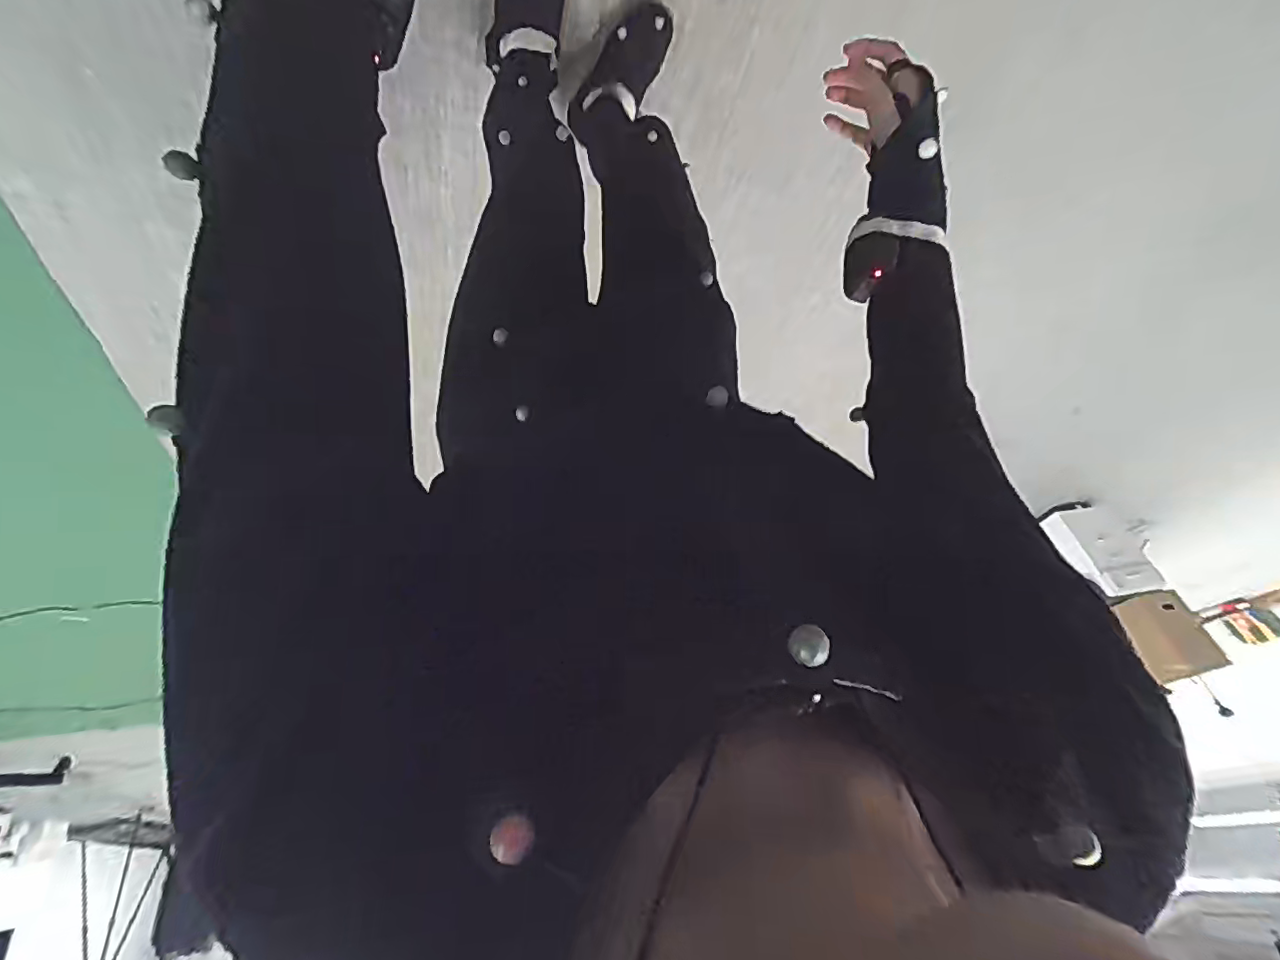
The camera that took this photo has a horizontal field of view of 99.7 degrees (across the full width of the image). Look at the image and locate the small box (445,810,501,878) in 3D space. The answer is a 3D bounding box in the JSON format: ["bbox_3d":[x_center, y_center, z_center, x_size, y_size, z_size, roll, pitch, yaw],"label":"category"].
[{"bbox_3d":[-0.595,1.299,1.931,0.179,0.176,0.168,-5,149,-14],"label":"small box"}]
